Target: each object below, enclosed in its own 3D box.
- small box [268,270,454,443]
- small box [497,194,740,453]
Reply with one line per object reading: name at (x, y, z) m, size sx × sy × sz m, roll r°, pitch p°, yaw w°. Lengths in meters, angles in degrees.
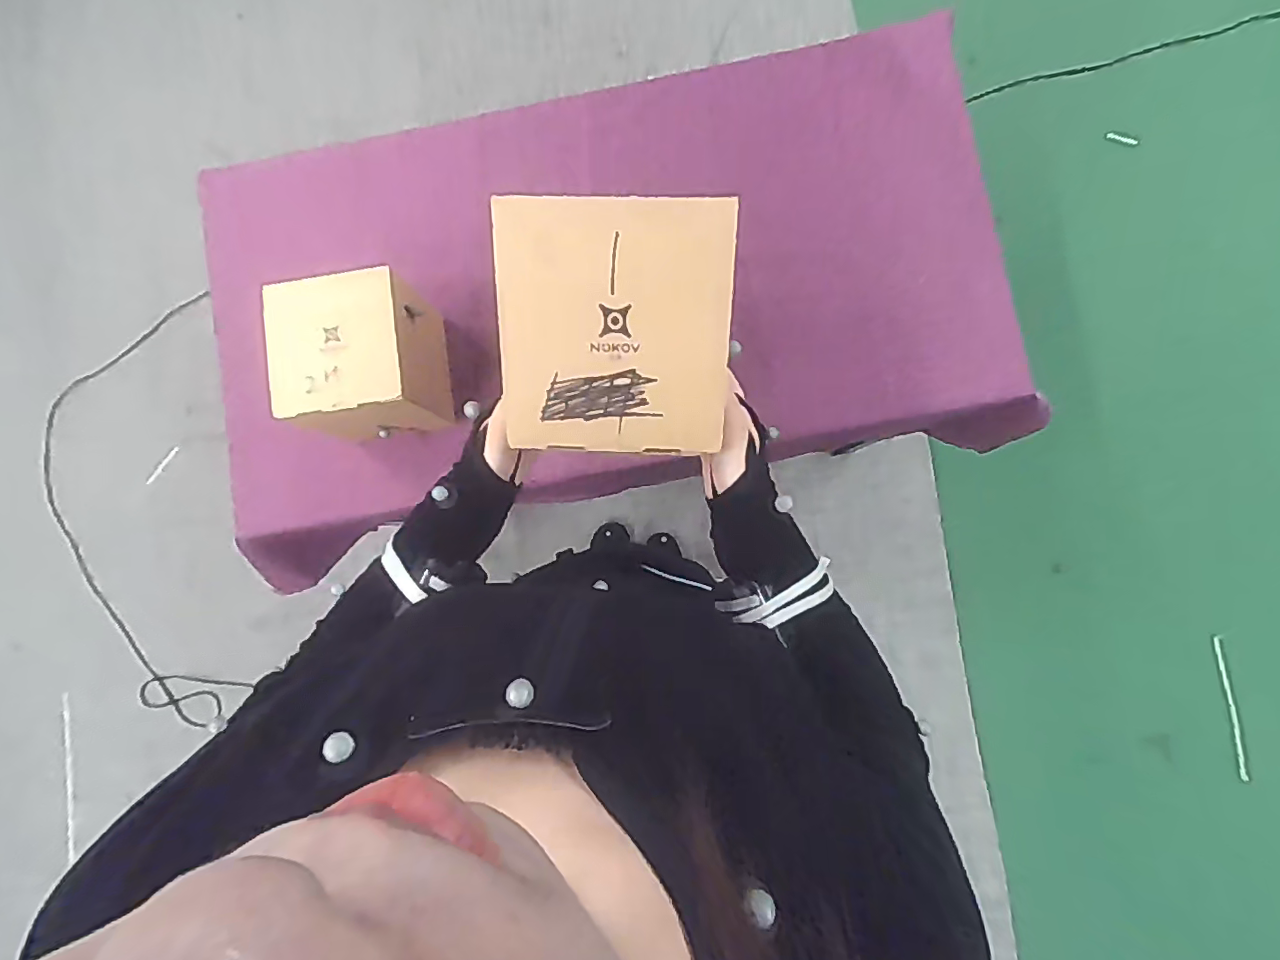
small box at (-0.373, -0.159, 0.748) m, size 0.168 × 0.176 × 0.179 m, roll -9°, pitch 84°, yaw 2°
small box at (-0.013, -0.130, 0.459) m, size 0.168 × 0.176 × 0.179 m, roll 2°, pitch 108°, yaw 2°
